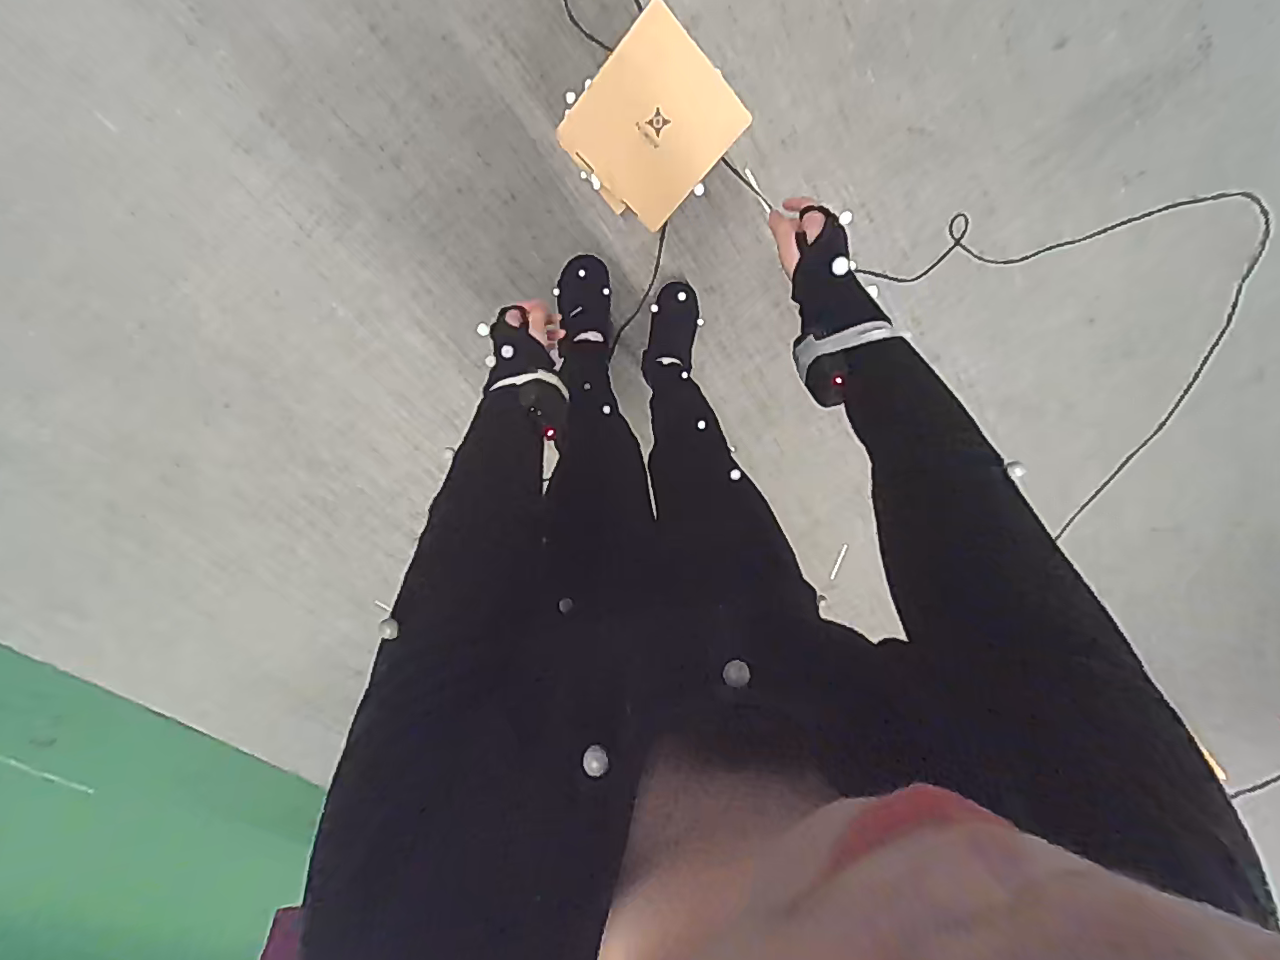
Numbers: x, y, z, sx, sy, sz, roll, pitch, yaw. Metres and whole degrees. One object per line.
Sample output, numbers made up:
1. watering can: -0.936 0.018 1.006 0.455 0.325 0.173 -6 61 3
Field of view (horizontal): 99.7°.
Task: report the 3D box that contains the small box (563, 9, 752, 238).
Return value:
1. small box: 0.017 -0.461 0.719 0.168 0.176 0.179 37 114 -22
